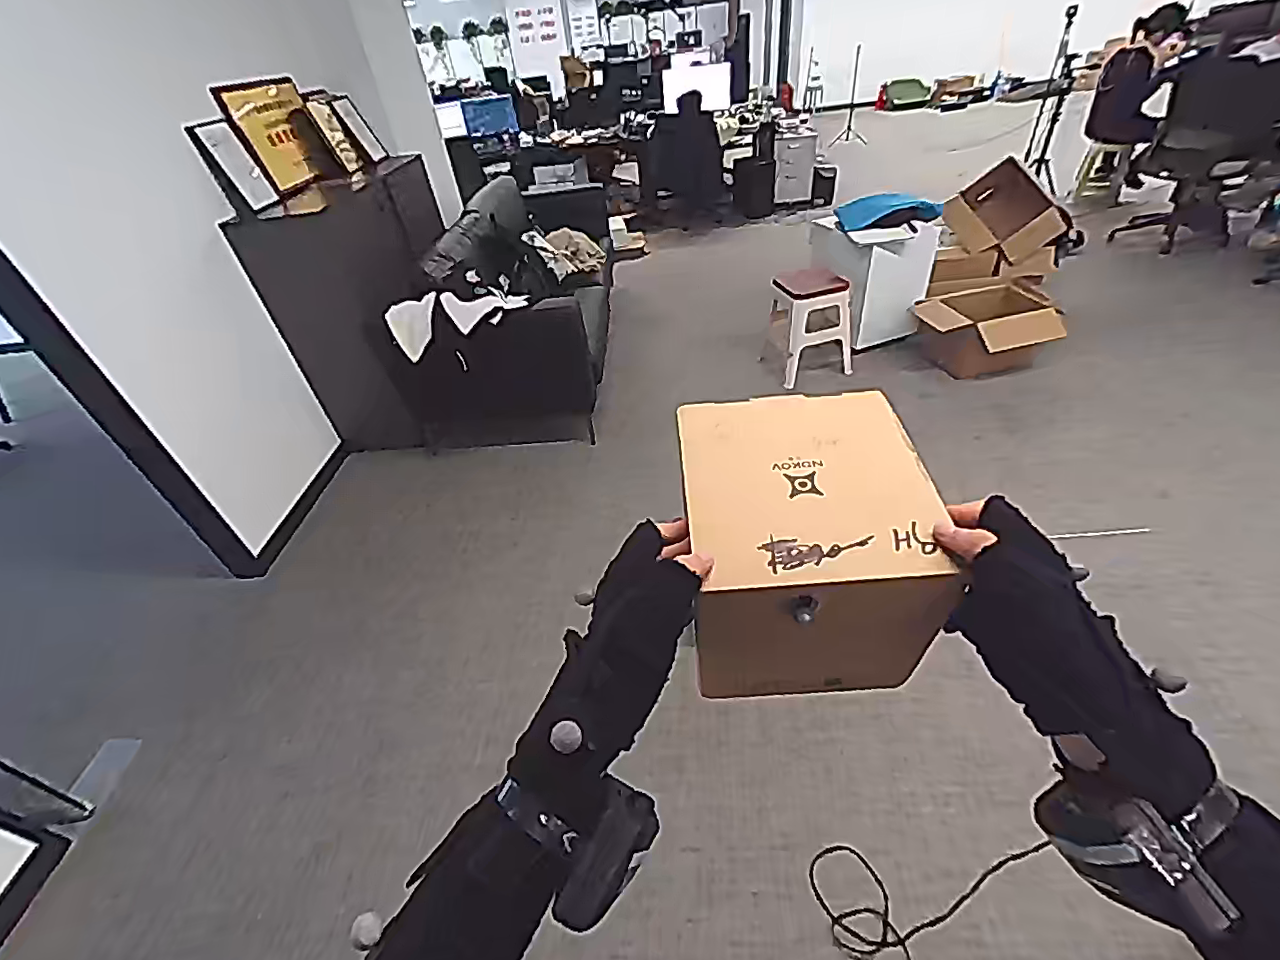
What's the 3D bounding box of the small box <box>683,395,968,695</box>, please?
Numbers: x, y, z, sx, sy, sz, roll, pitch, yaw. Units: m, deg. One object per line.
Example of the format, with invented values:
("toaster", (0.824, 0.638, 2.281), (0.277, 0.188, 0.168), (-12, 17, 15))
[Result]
("small box", (0.122, 0.053, 0.441), (0.168, 0.176, 0.179), (-5, 46, 4))
